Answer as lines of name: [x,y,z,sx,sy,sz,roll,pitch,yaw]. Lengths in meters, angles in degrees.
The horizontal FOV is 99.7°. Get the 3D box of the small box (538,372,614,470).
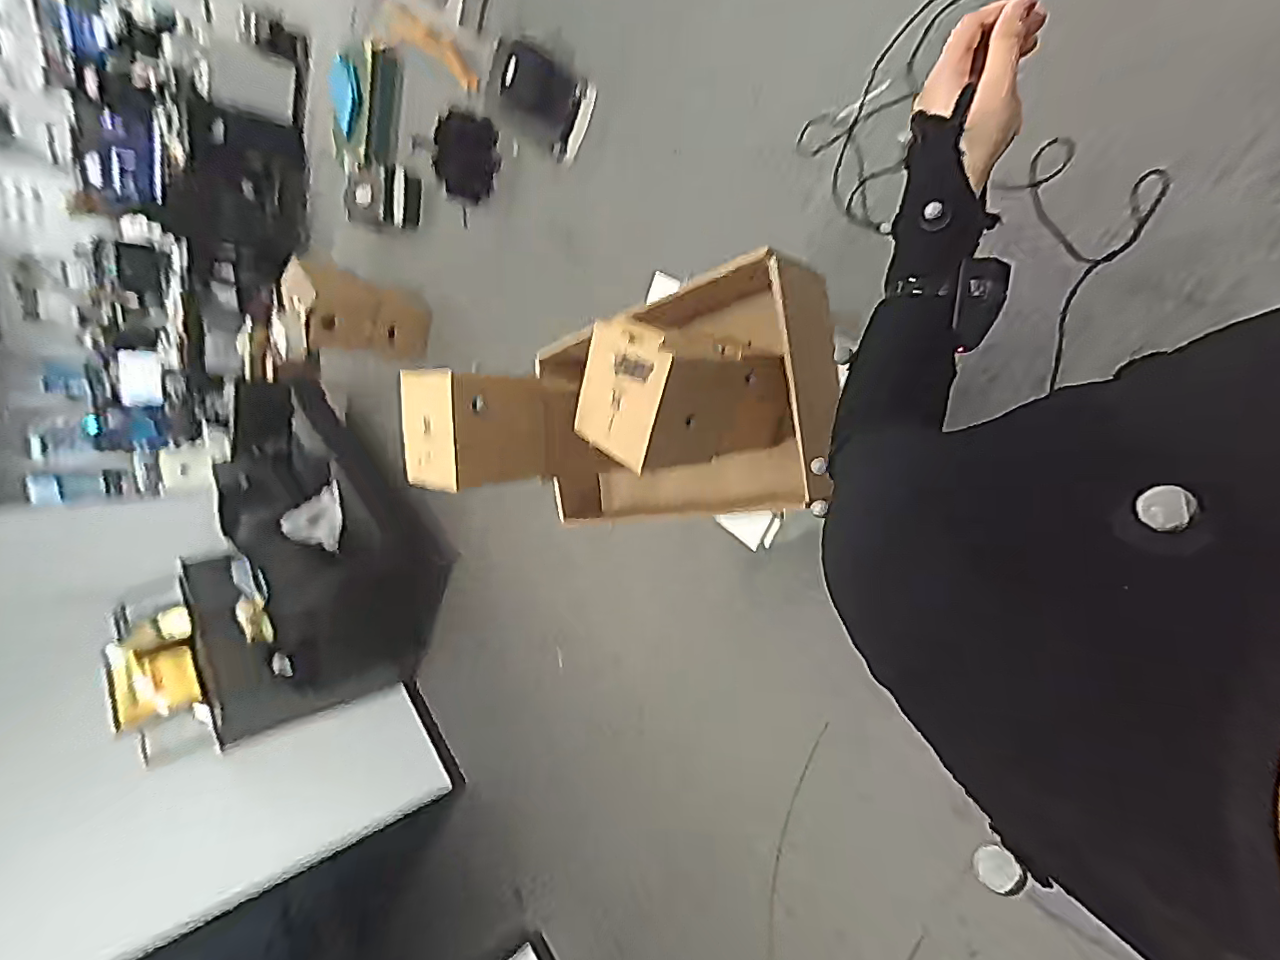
small box: [-0.164,-0.121,1.042,0.179,0.176,0.168,14,107,40]

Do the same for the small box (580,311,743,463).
small box: [0.035,-0.147,0.843,0.168,0.176,0.179,36,122,36]

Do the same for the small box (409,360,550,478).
small box: [-0.265,-0.108,0.911,0.168,0.176,0.179,10,104,43]
